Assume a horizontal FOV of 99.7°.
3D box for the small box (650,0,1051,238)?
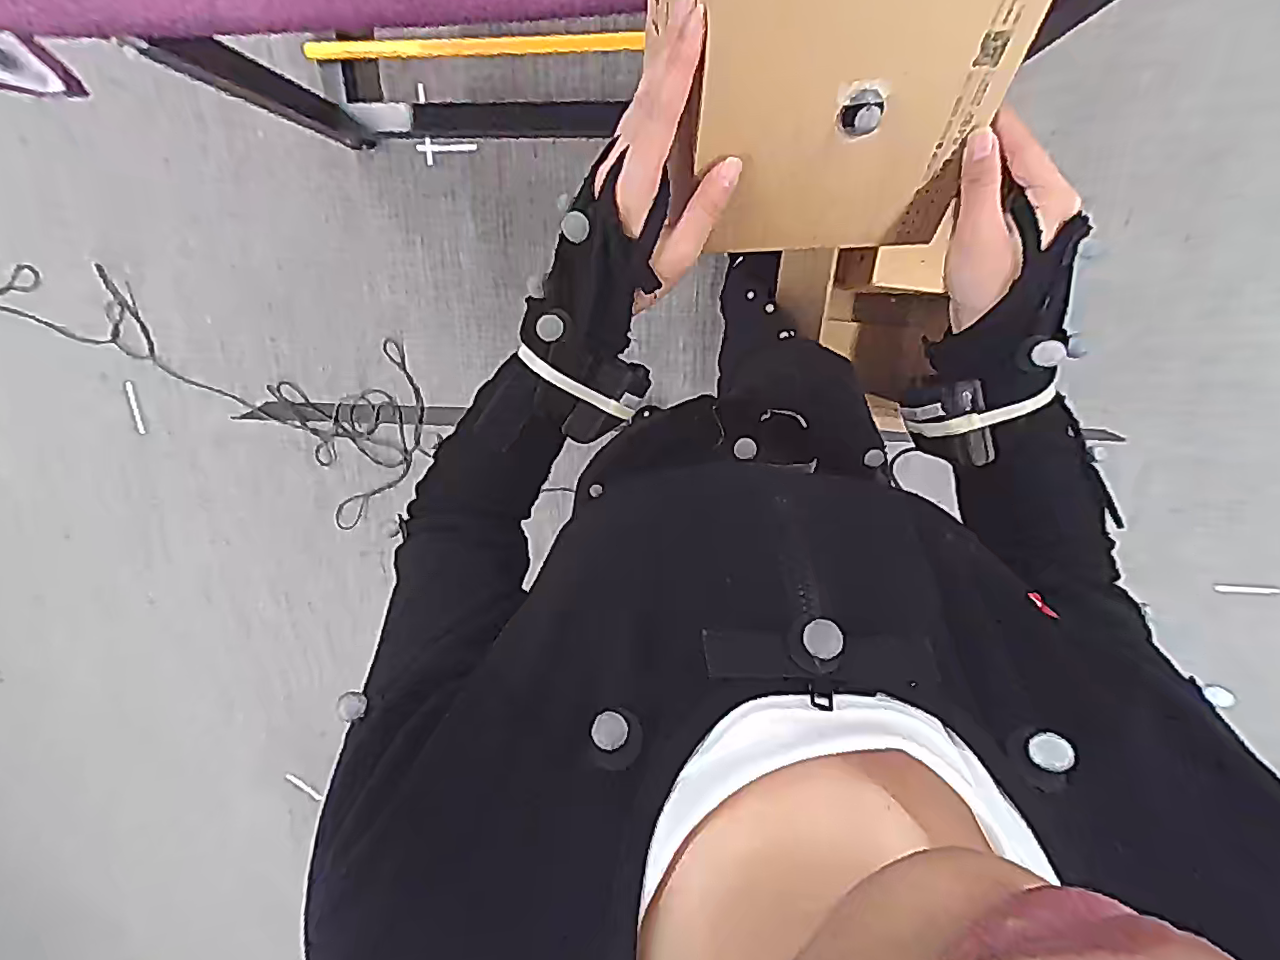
[{"bbox_3d":[0.107,-0.271,0.324,0.176,0.179,0.168,-5,144,-9],"label":"small box"}]
